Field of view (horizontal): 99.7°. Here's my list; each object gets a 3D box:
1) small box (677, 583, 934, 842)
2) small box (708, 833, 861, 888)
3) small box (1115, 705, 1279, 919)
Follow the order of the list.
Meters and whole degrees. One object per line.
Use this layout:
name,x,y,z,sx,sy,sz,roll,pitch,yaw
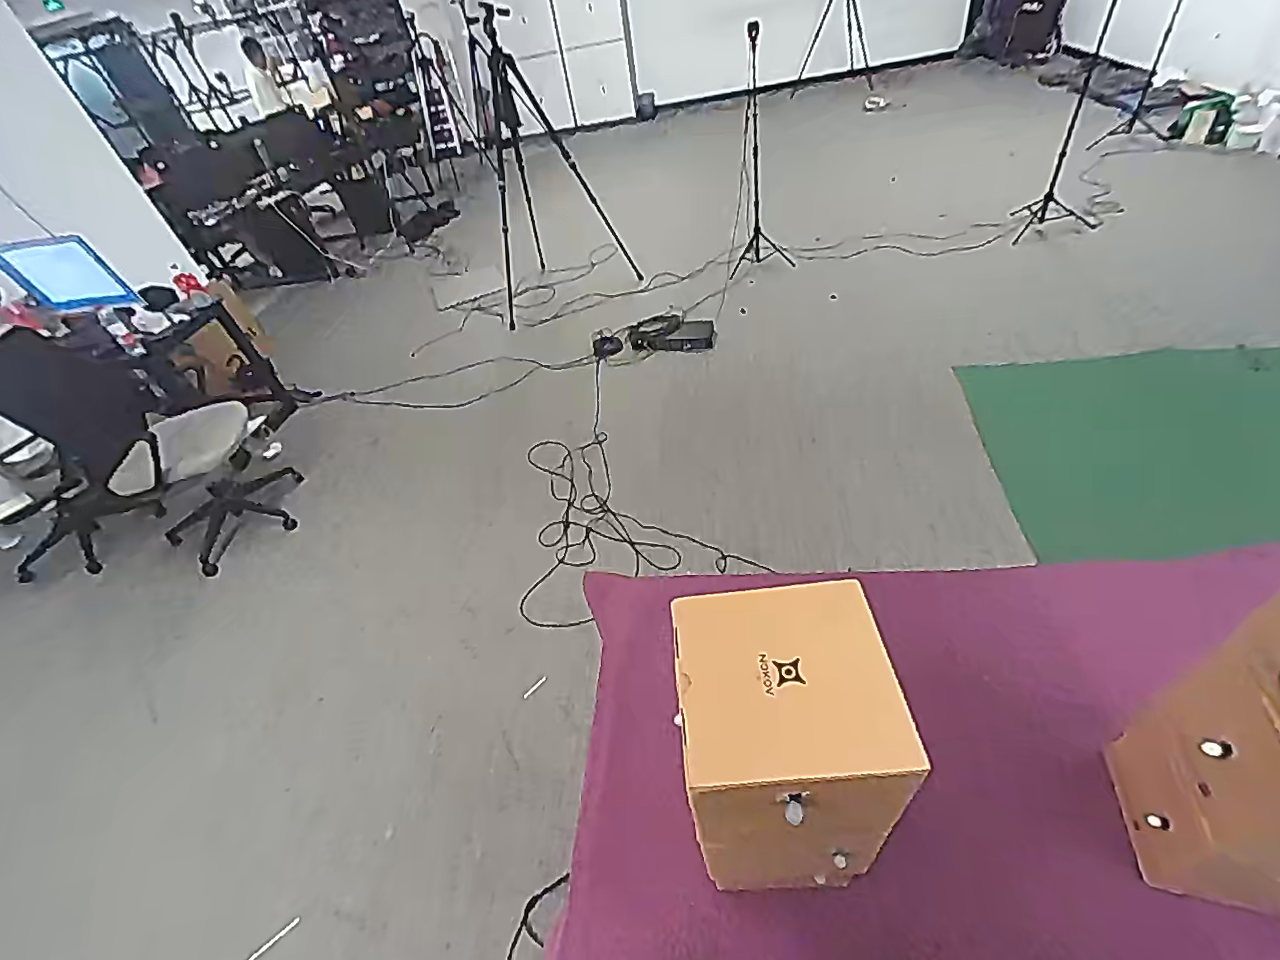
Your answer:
small box,0.132,0.217,0.498,0.179,0.176,0.168,-8,45,5
small box,0.180,0.438,0.735,0.179,0.176,0.168,-6,44,7
small box,0.718,0.400,0.649,0.179,0.176,0.168,5,46,18
